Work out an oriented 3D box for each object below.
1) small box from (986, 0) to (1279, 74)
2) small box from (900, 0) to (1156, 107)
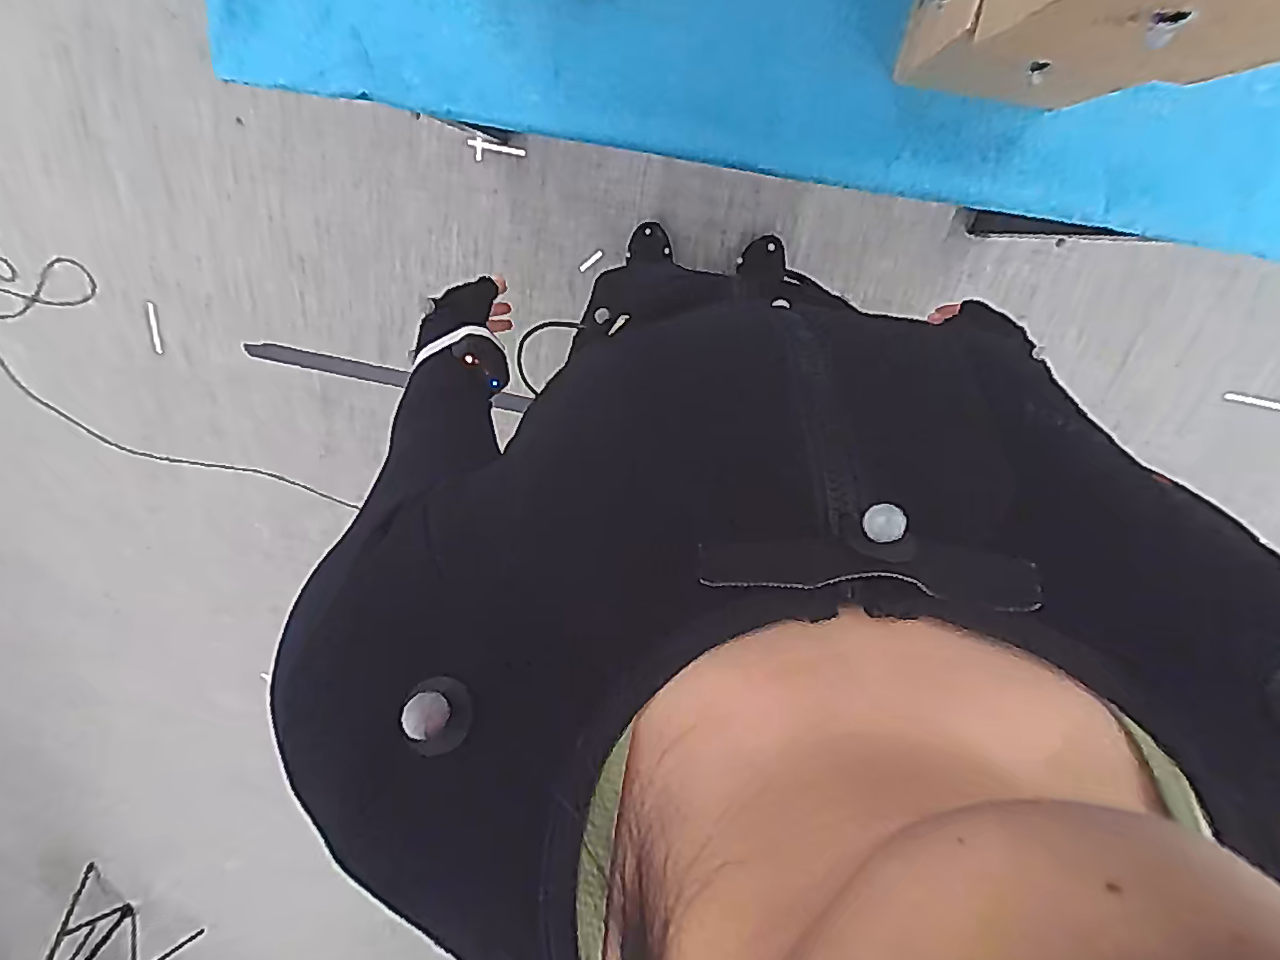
[{"bbox_3d":[0.341,-0.352,0.303,0.179,0.176,0.168,7,116,1],"label":"small box"},{"bbox_3d":[0.347,-0.430,0.445,0.179,0.176,0.168,11,116,0],"label":"small box"}]
